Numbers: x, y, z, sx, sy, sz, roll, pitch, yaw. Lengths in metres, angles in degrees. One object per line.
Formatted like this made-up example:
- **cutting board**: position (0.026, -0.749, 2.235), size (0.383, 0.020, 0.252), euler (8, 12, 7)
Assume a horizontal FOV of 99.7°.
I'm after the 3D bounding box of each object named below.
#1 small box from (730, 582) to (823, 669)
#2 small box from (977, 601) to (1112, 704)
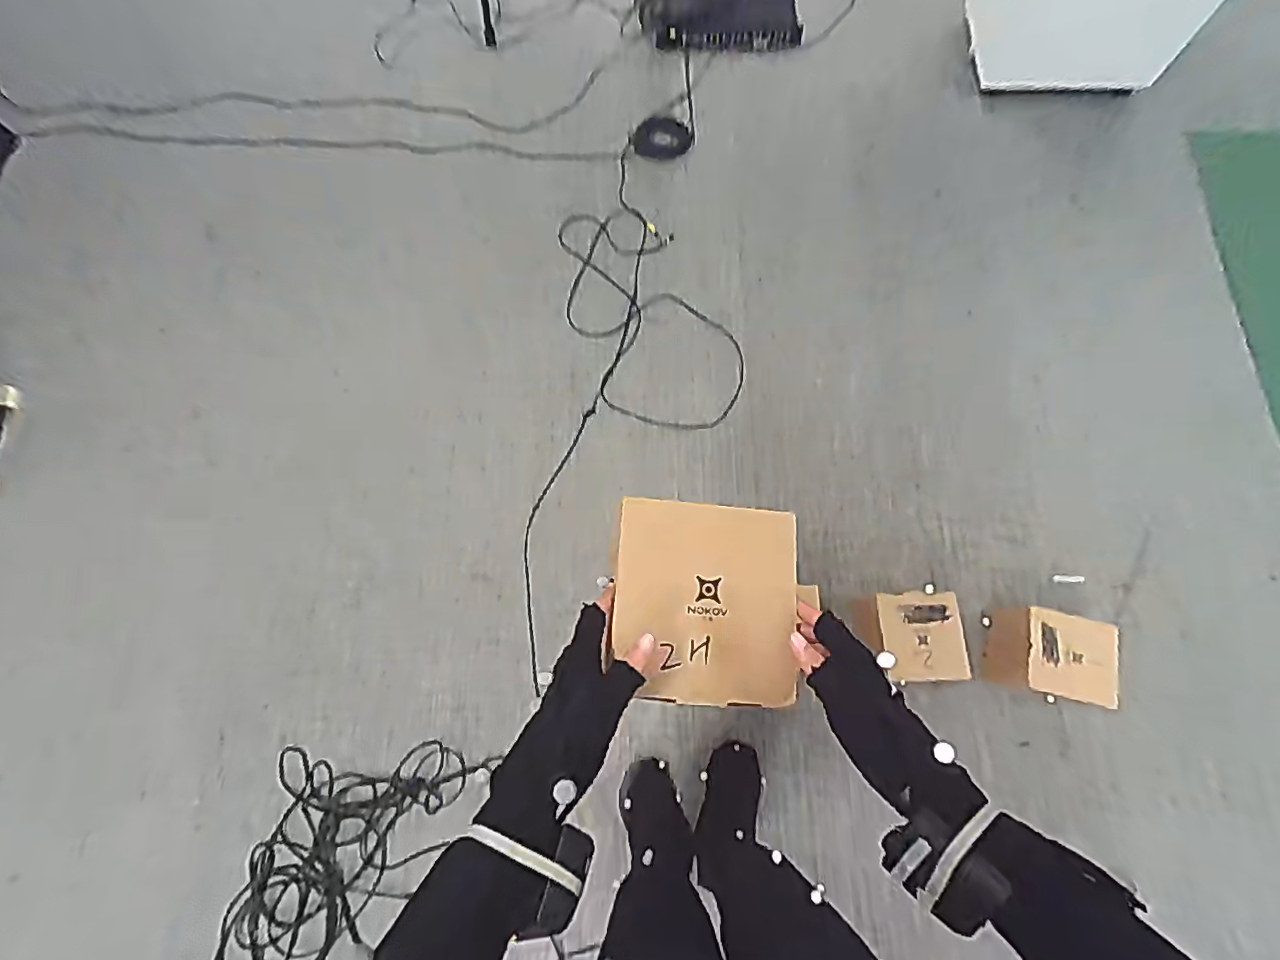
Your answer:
- **small box**: position (0.294, 0.325, 1.200), size (0.168, 0.176, 0.179), euler (0, 73, 2)
- **small box**: position (0.862, 0.370, 1.166), size (0.179, 0.176, 0.168), euler (14, 74, 5)
